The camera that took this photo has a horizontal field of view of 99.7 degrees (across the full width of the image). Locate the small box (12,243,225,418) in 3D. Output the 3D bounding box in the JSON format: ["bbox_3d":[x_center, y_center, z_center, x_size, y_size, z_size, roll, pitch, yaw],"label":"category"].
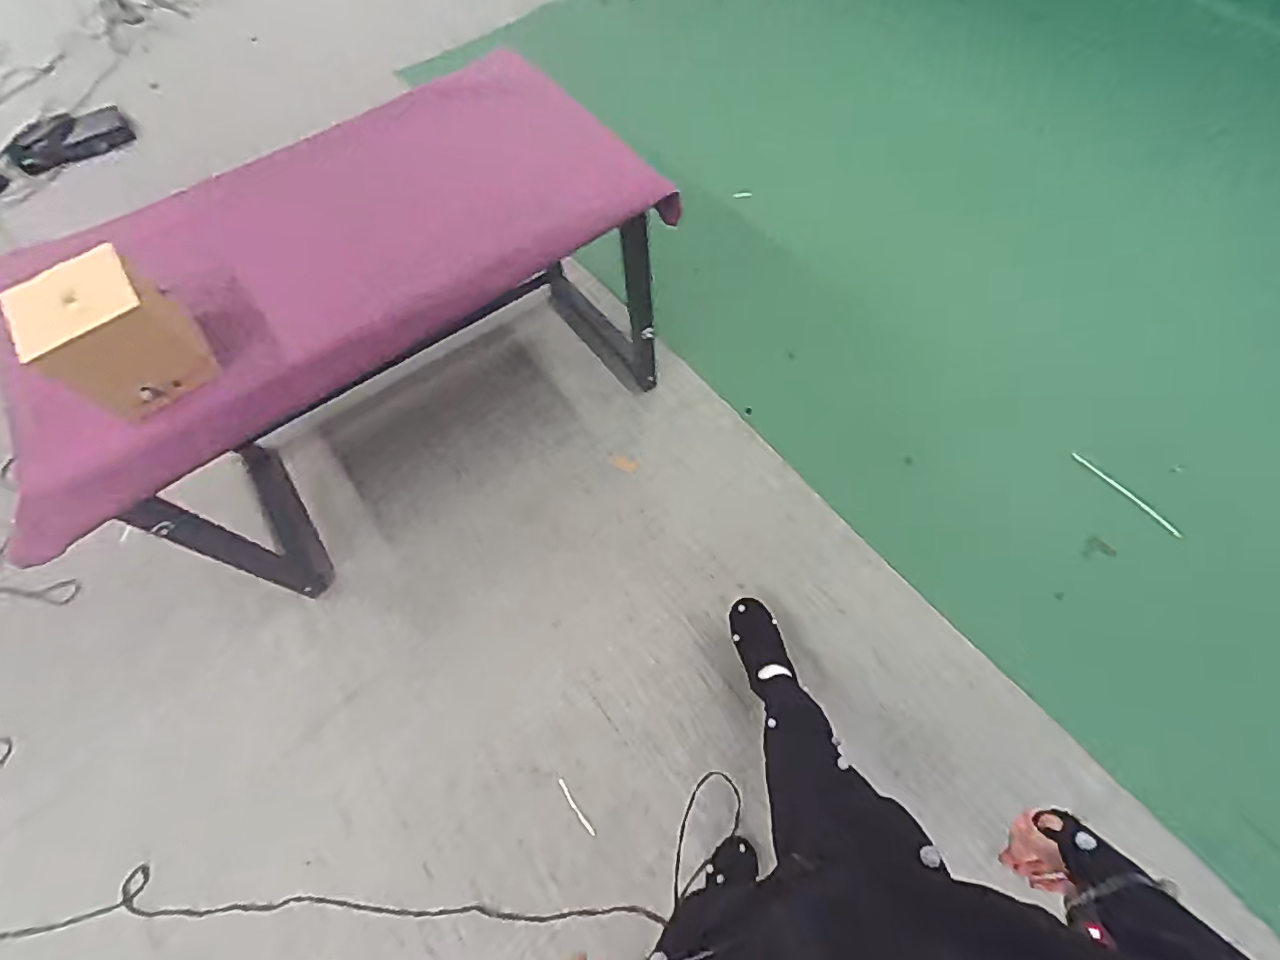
[{"bbox_3d":[-0.825,-0.235,0.870,0.168,0.176,0.179,-35,67,-13],"label":"small box"}]
